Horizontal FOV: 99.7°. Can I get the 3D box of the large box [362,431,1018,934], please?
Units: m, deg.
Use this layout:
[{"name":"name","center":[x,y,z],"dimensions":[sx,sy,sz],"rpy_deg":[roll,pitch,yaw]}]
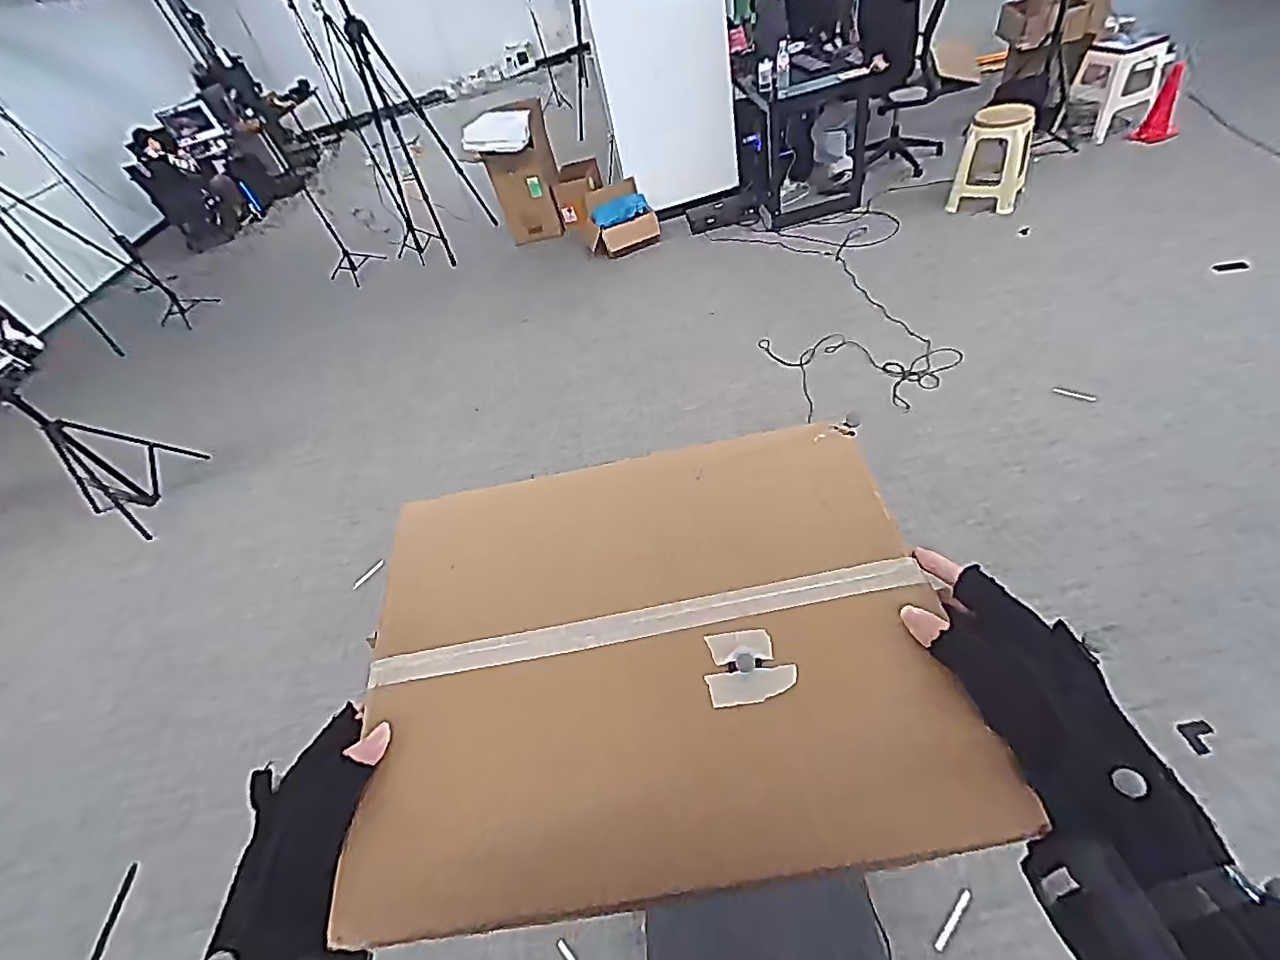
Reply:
[{"name":"large box","center":[0.027,0.201,0.523],"dimensions":[0.408,0.320,0.320],"rpy_deg":[-11,52,2]}]
